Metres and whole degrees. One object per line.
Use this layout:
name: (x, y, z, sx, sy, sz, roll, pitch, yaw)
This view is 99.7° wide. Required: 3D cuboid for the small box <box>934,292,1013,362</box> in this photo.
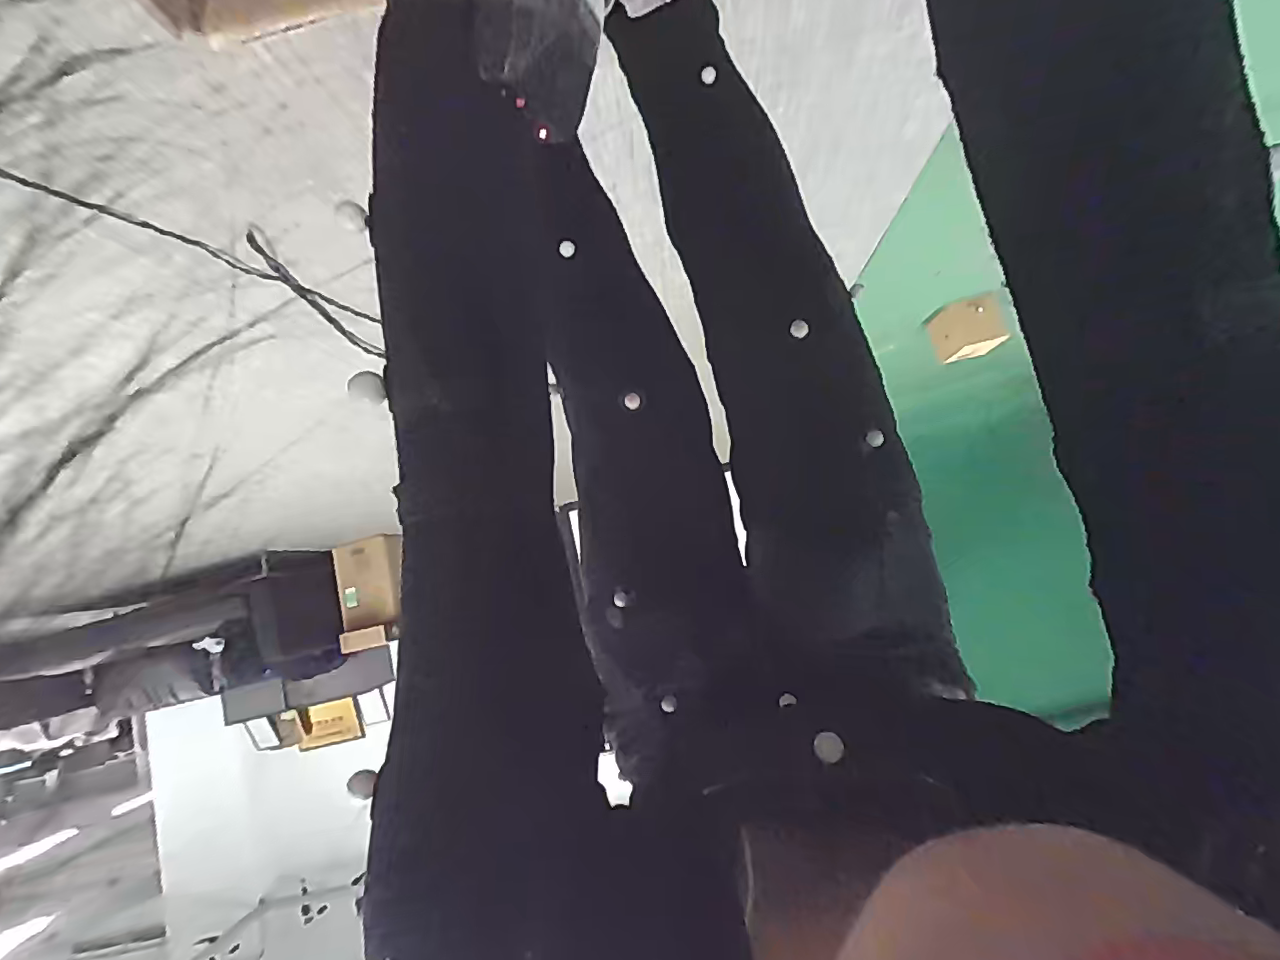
small box: (1.193, -0.551, 1.952, 0.168, 0.176, 0.179, -14, 172, 3)
